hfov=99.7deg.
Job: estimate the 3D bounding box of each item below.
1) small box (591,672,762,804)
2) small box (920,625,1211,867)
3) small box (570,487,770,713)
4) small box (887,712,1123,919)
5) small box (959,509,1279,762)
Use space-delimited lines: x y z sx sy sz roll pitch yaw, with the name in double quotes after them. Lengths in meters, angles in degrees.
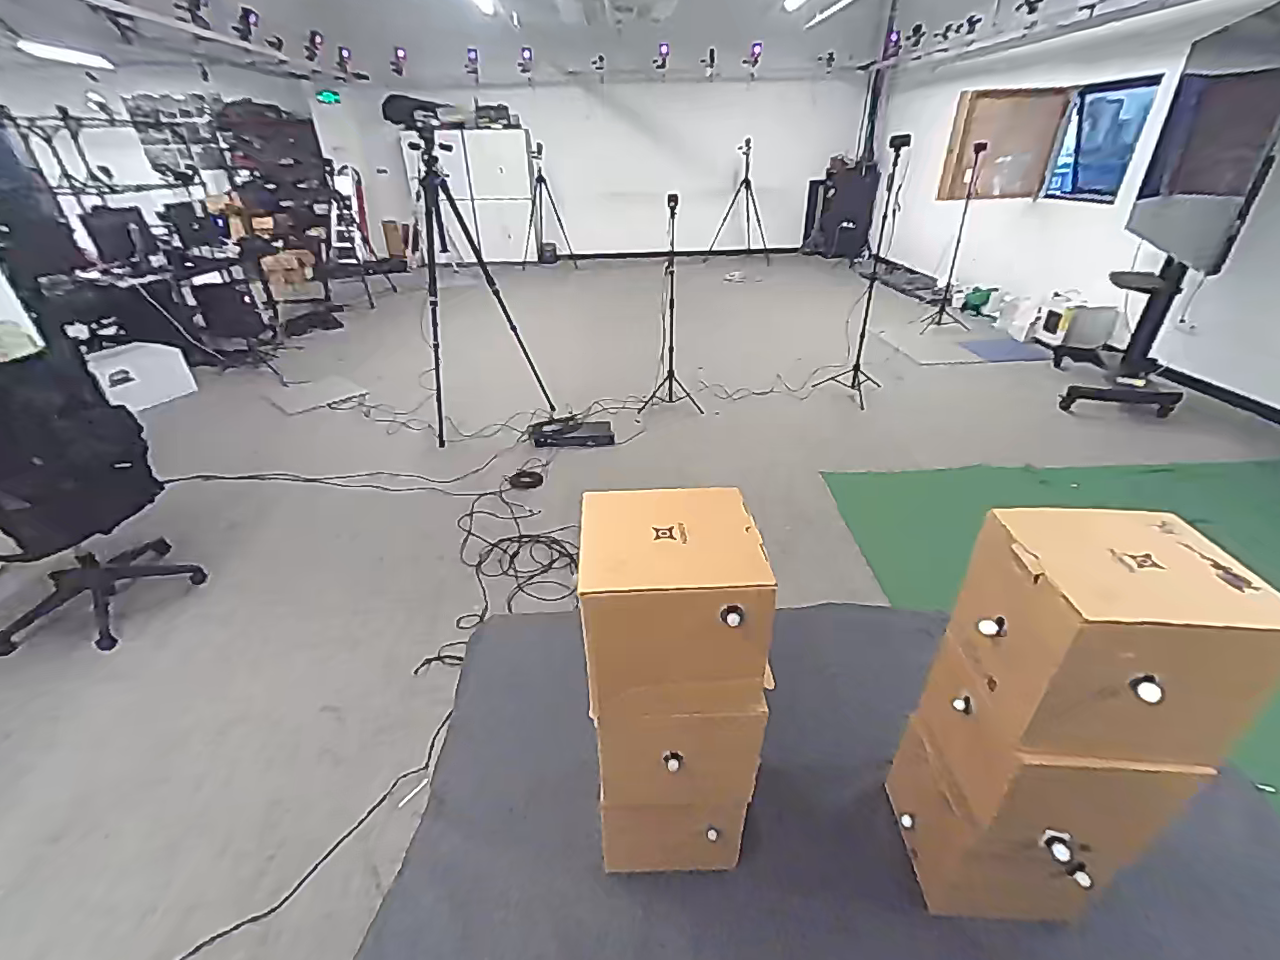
0.037 0.263 0.650 0.179 0.176 0.168 -2 31 0 "small box"
0.435 0.285 0.597 0.168 0.176 0.179 0 31 6 "small box"
0.024 0.123 0.568 0.179 0.176 0.168 -2 31 -3 "small box"
0.441 0.421 0.685 0.179 0.176 0.168 0 30 3 "small box"
0.433 0.142 0.517 0.179 0.176 0.168 1 30 7 "small box"
